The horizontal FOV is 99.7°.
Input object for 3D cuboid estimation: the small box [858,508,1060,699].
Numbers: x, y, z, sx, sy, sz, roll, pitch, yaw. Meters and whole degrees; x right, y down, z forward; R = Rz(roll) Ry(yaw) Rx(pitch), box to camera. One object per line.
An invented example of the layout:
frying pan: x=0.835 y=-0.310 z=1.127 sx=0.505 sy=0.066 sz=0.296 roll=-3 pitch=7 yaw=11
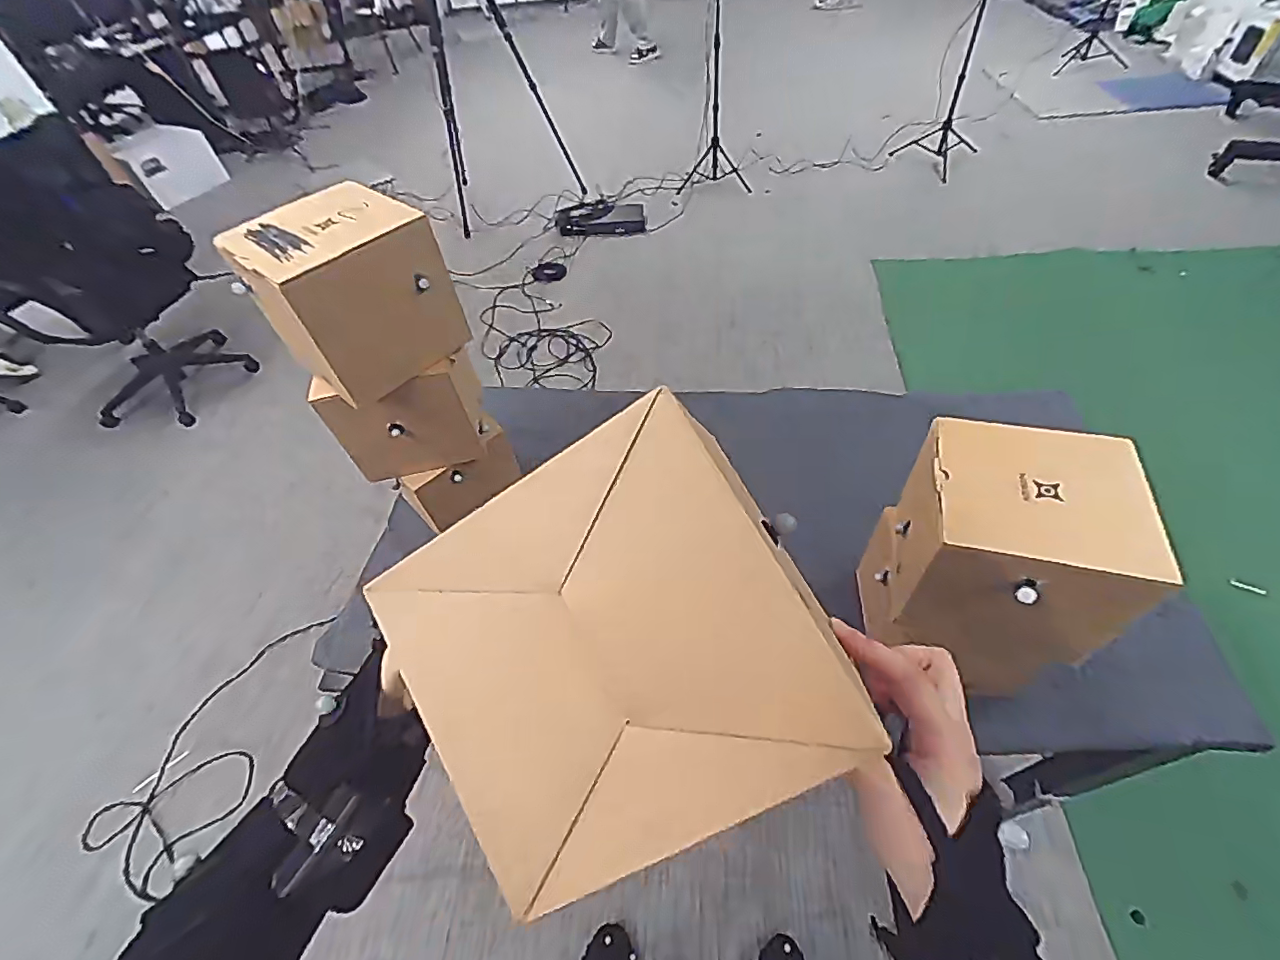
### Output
small box: x=0.386 y=0.155 z=0.686 sx=0.168 sy=0.176 sz=0.179 roll=1 pitch=50 yaw=9

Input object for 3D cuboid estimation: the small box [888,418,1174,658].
small box: x=0.370 y=0.062 z=0.553 sx=0.179 sy=0.176 sz=0.168 roll=9 pitch=51 yaw=16

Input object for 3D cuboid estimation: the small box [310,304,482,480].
small box: x=-0.337 y=-0.124 z=0.788 sx=0.179 sy=0.176 sz=0.168 roll=-14 pitch=52 yaw=-4

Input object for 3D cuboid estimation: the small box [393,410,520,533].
small box: x=-0.322 y=-0.024 z=0.918 sx=0.168 sy=0.176 sz=0.179 roll=-39 pitch=57 yaw=-23

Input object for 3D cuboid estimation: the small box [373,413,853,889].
small box: x=-0.003 y=0.078 z=0.306 sx=0.179 sy=0.176 sz=0.168 roll=-32 pitch=78 yaw=11
